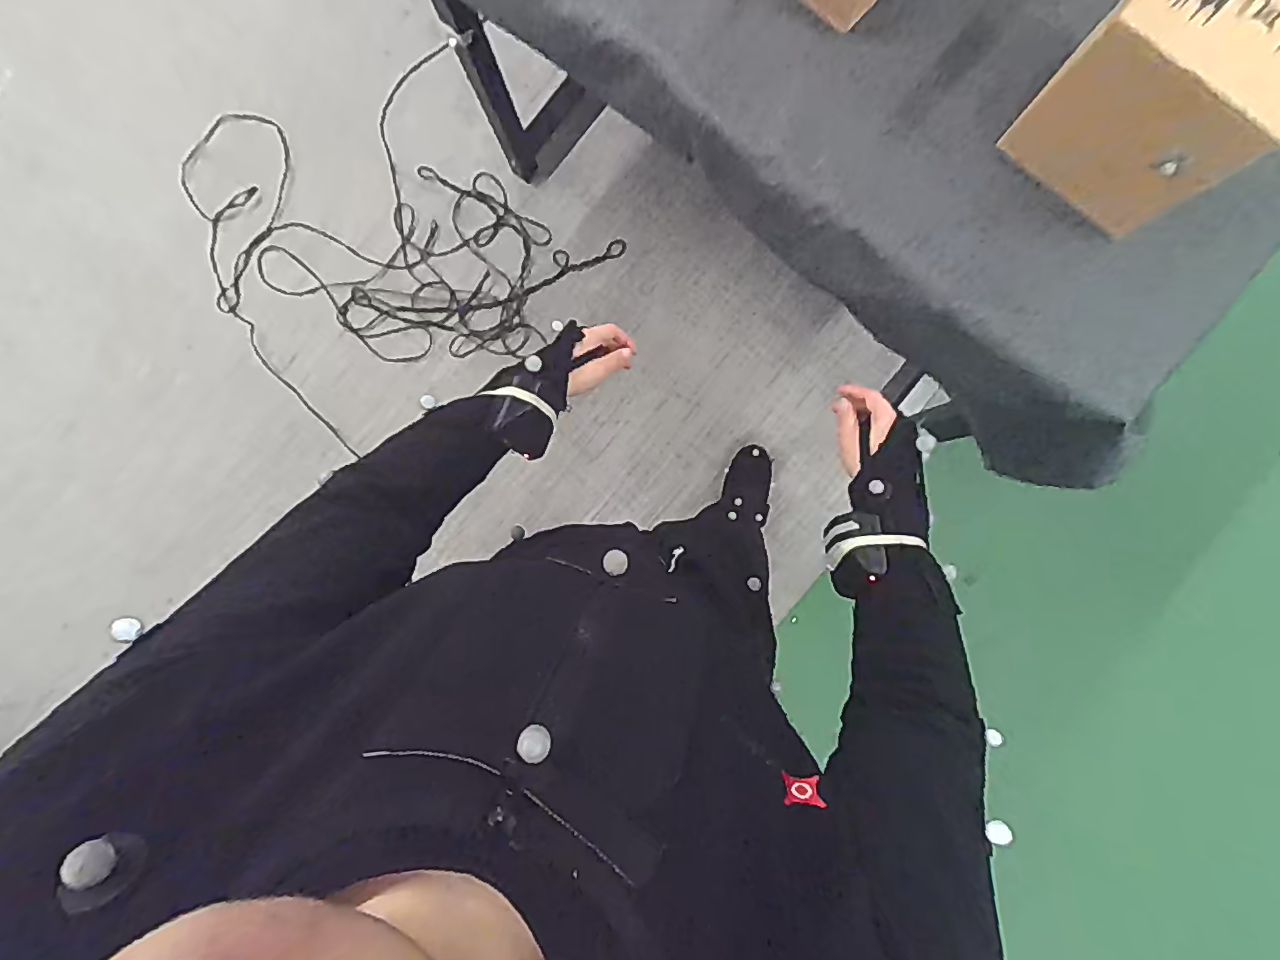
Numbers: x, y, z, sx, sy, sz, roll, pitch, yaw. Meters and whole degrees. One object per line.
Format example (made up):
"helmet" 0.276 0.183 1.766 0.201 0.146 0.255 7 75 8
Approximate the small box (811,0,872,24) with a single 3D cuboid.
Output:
"small box" 0.232 -0.640 0.554 0.168 0.176 0.179 43 89 2
